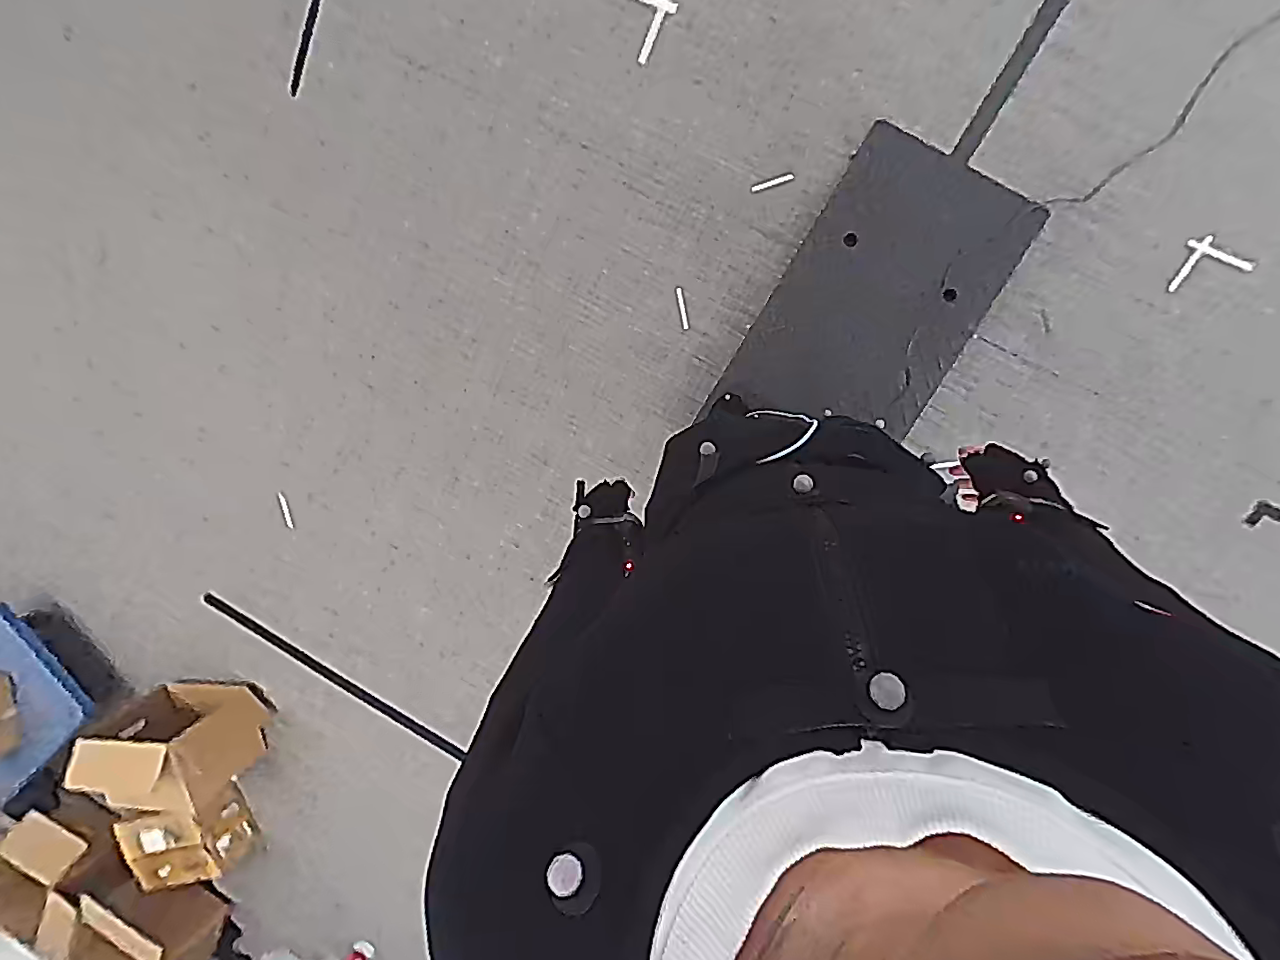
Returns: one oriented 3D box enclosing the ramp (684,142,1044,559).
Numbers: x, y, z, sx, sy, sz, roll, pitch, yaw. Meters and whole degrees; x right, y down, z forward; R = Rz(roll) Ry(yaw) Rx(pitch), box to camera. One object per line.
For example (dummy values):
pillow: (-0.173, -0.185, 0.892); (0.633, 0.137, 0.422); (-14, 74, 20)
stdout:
ramp: (0.565, -0.338, 1.415); (0.509, 0.206, 0.991); (29, 104, 7)
